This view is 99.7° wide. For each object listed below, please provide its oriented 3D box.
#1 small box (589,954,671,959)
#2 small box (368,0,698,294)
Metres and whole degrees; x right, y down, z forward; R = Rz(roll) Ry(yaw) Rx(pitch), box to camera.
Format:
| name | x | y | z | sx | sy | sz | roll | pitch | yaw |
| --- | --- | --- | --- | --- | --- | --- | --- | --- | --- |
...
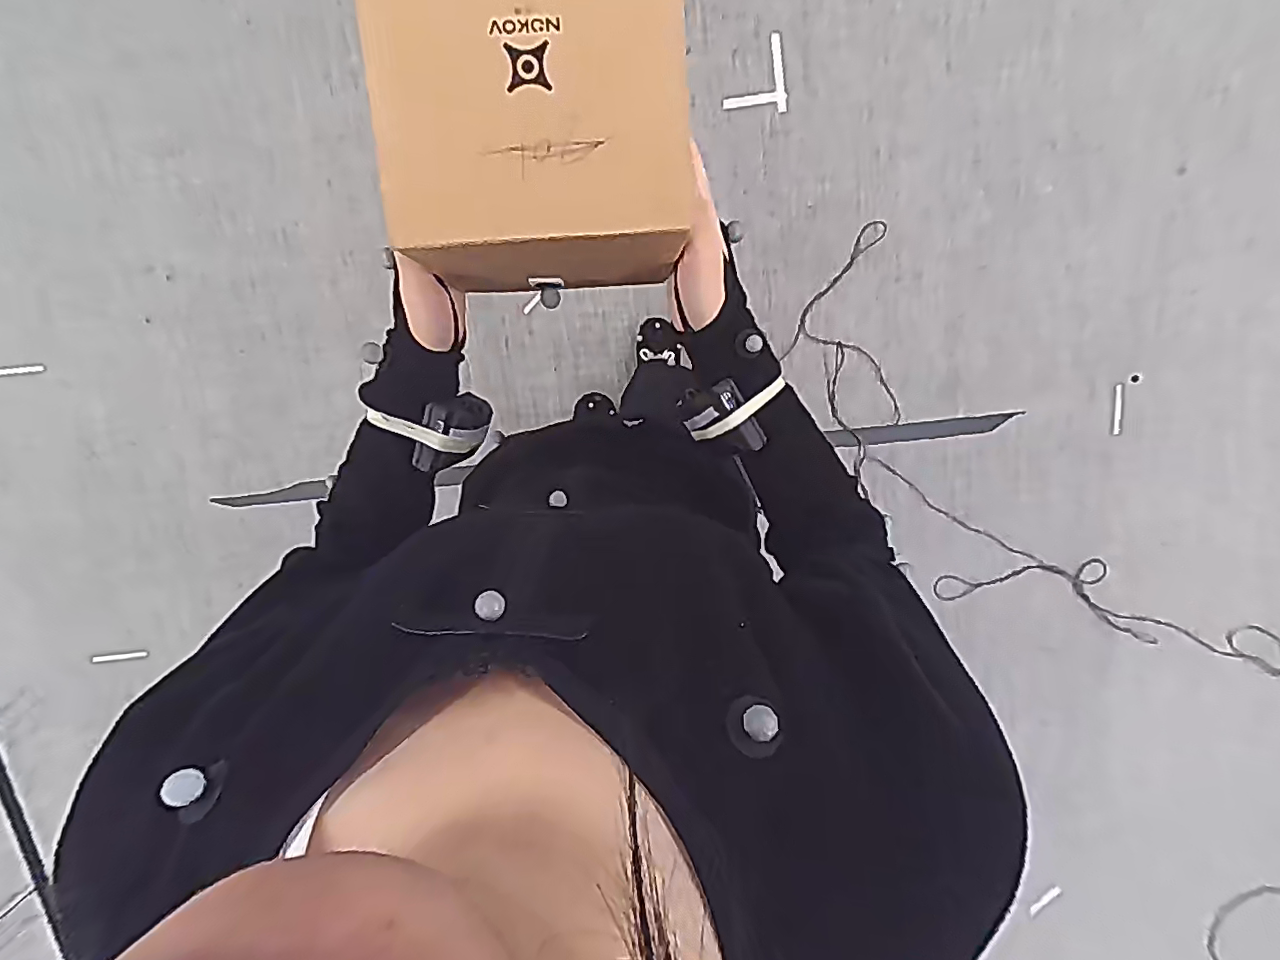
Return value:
| name | x | y | z | sx | sy | sz | roll | pitch | yaw |
| --- | --- | --- | --- | --- | --- | --- | --- | --- | --- |
| small box | -0.013 | 0.884 | 0.827 | 0.168 | 0.176 | 0.179 | -5 | 101 | -2 |
| small box | -0.059 | -0.231 | 0.357 | 0.168 | 0.176 | 0.179 | -4 | 101 | -2 |
